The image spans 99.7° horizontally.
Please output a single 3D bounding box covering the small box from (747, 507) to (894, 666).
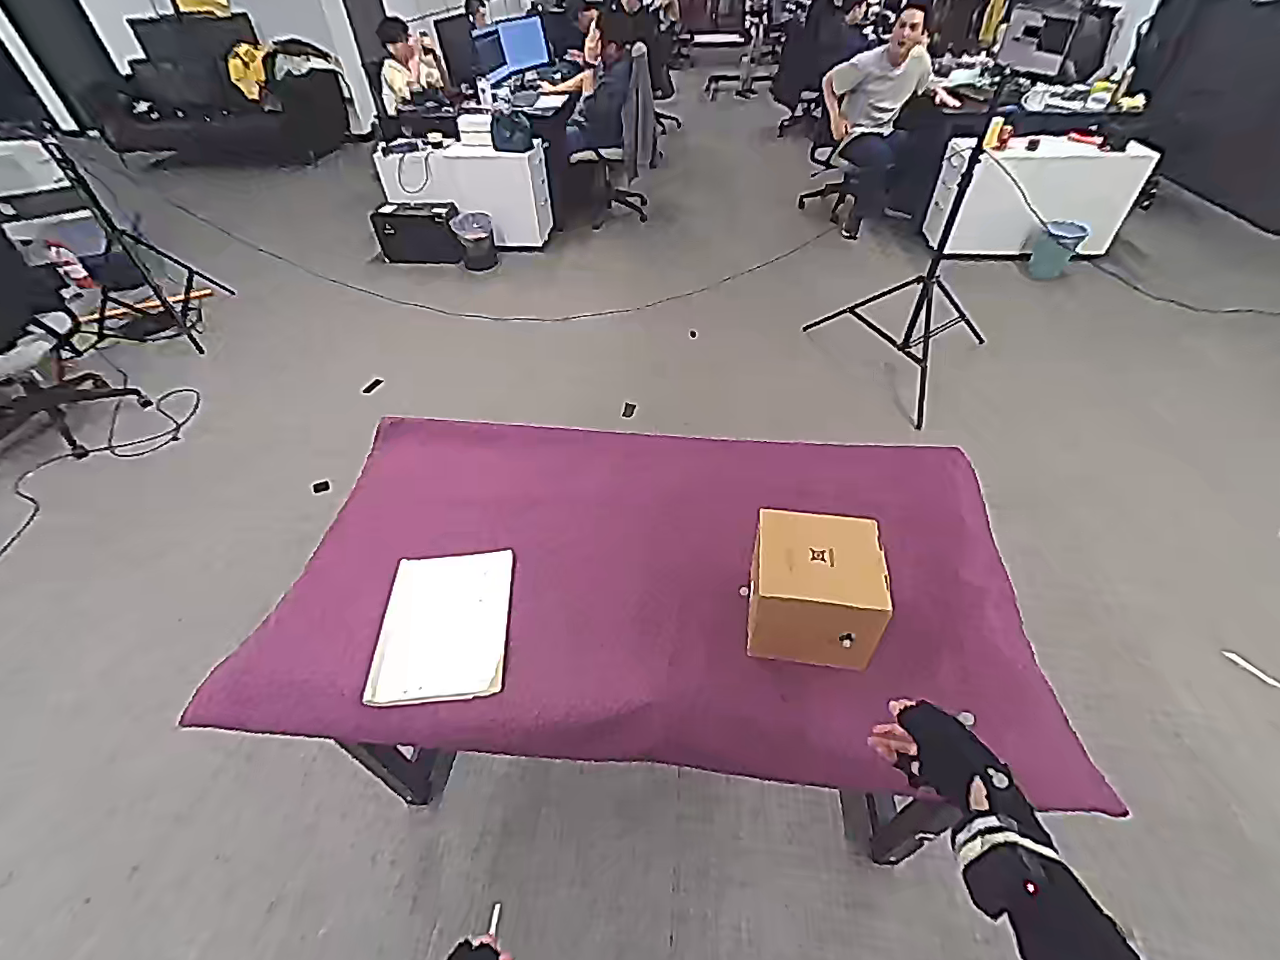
[{"bbox_3d":[0.262,0.164,0.825,0.179,0.176,0.168,4,43,9],"label":"small box"}]
